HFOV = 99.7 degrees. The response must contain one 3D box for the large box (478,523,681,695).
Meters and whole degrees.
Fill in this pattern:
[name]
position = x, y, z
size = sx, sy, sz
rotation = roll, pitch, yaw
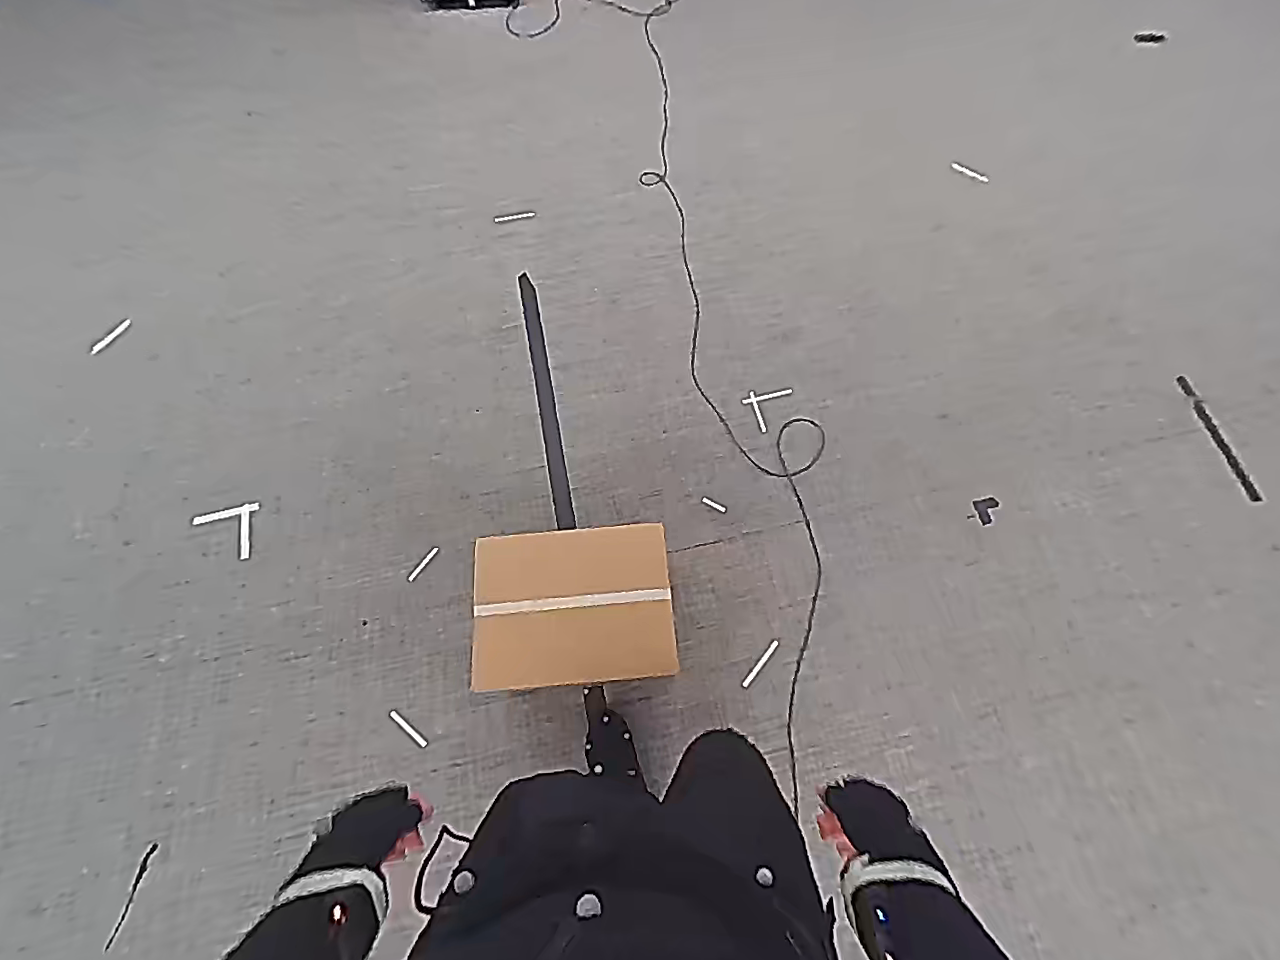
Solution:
[large box]
position = -0.130, 0.308, 1.239
size = 0.408, 0.320, 0.320
rotation = -5, 69, -1
